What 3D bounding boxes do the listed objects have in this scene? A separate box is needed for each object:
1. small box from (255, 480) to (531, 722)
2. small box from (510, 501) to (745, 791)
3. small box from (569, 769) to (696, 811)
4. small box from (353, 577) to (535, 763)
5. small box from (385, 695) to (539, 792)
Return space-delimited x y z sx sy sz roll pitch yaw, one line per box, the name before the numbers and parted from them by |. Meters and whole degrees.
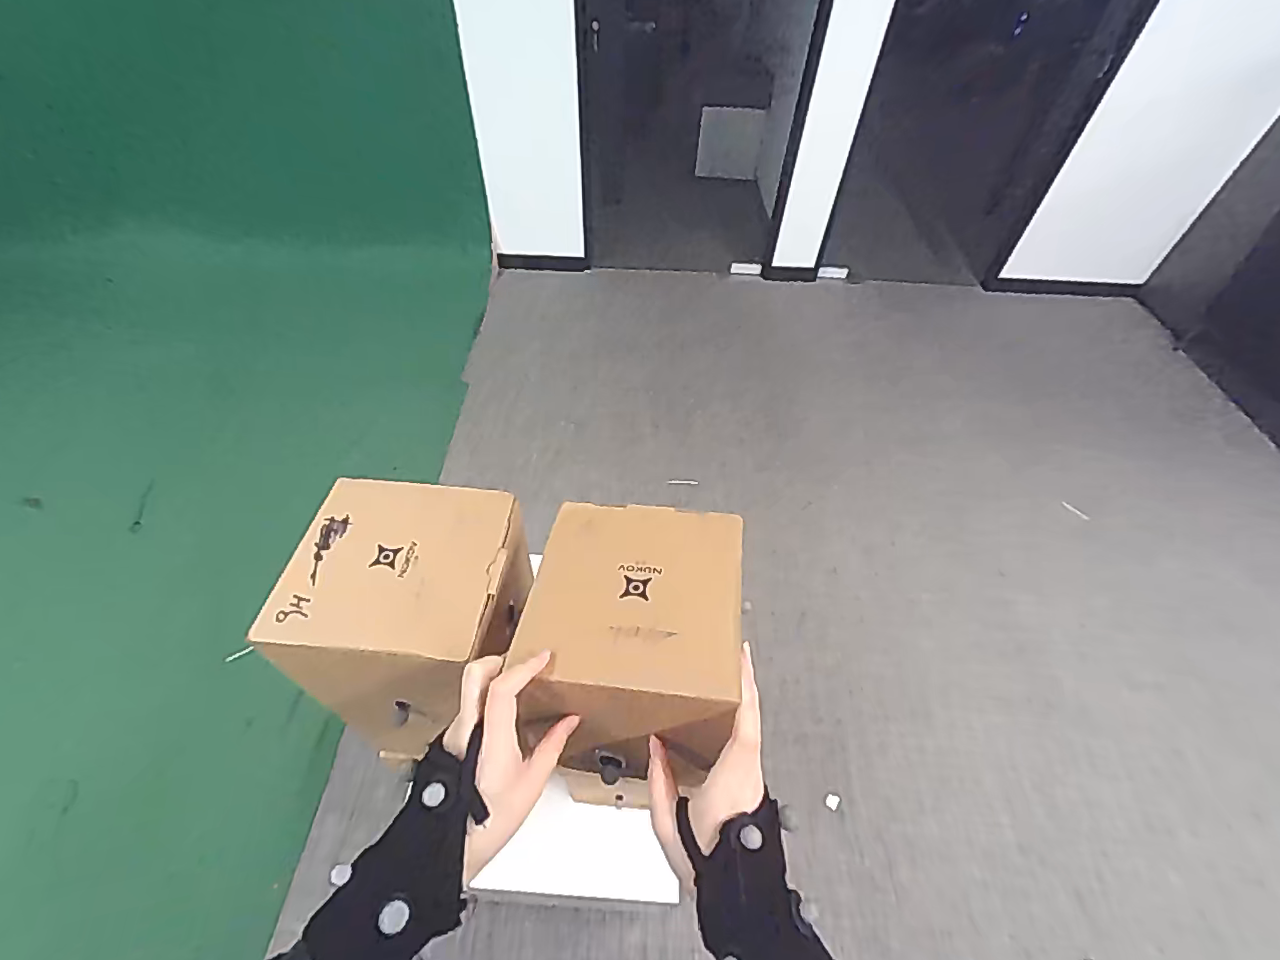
small box | -0.210 0.123 0.527 0.179 0.176 0.168 6 50 0
small box | 0.002 0.142 0.482 0.168 0.176 0.179 4 41 8
small box | -0.004 0.352 0.774 0.168 0.176 0.179 5 50 3
small box | -0.222 0.222 0.658 0.168 0.176 0.179 5 50 1
small box | -0.235 0.330 0.780 0.168 0.176 0.179 4 51 0
